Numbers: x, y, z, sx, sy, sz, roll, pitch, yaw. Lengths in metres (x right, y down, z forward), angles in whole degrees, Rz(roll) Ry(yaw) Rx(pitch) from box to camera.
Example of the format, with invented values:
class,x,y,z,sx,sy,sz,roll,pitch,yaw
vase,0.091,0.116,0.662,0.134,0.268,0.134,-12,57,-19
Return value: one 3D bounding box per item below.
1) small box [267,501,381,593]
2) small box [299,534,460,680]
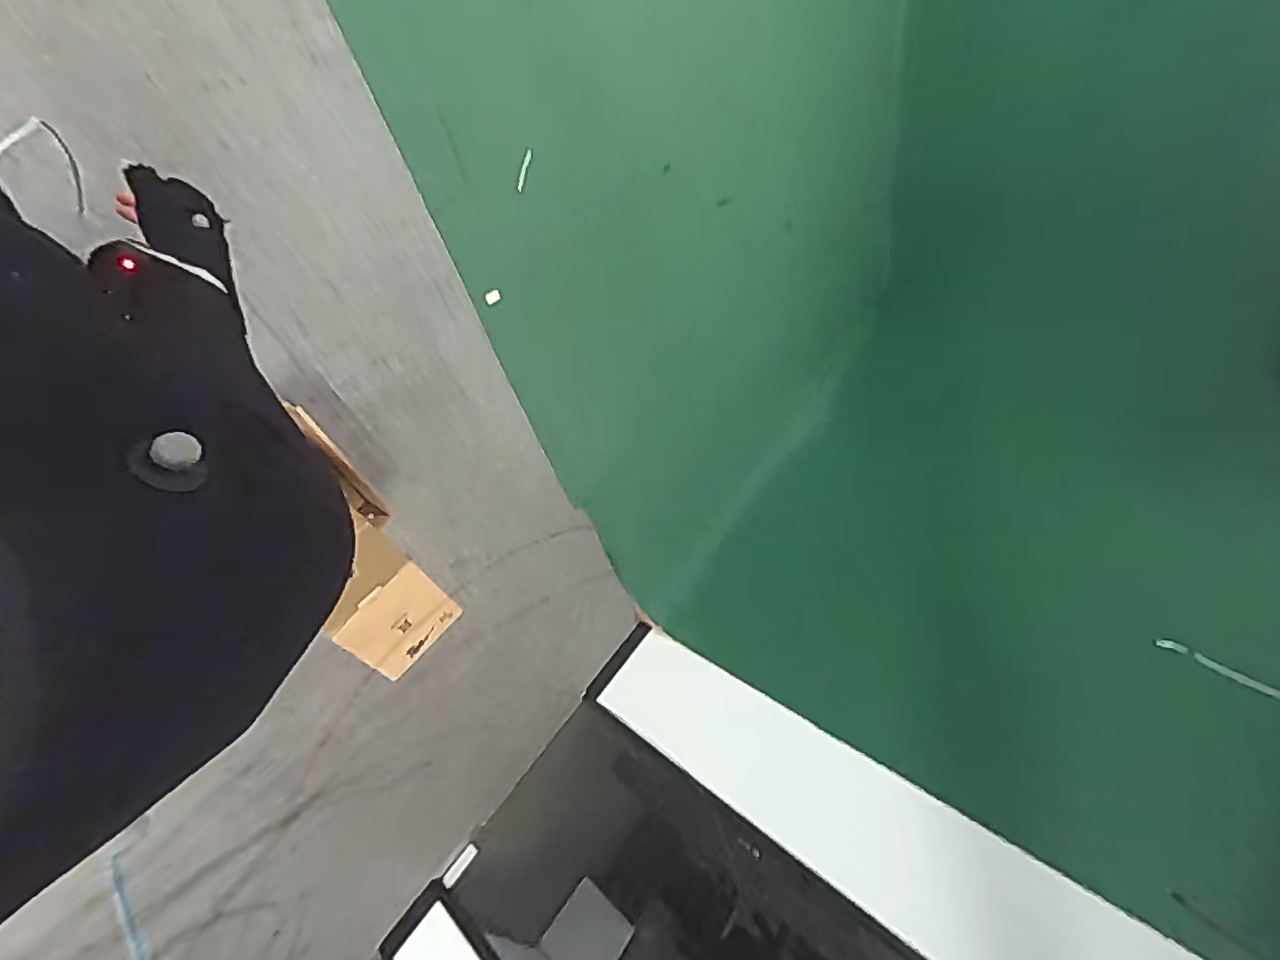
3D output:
class,x,y,z,sx,sy,sz,roll,pitch,yaw
small box,-0.592,0.163,1.075,0.168,0.176,0.179,-47,140,-23
small box,-0.471,0.220,0.980,0.168,0.176,0.179,-46,139,-23
